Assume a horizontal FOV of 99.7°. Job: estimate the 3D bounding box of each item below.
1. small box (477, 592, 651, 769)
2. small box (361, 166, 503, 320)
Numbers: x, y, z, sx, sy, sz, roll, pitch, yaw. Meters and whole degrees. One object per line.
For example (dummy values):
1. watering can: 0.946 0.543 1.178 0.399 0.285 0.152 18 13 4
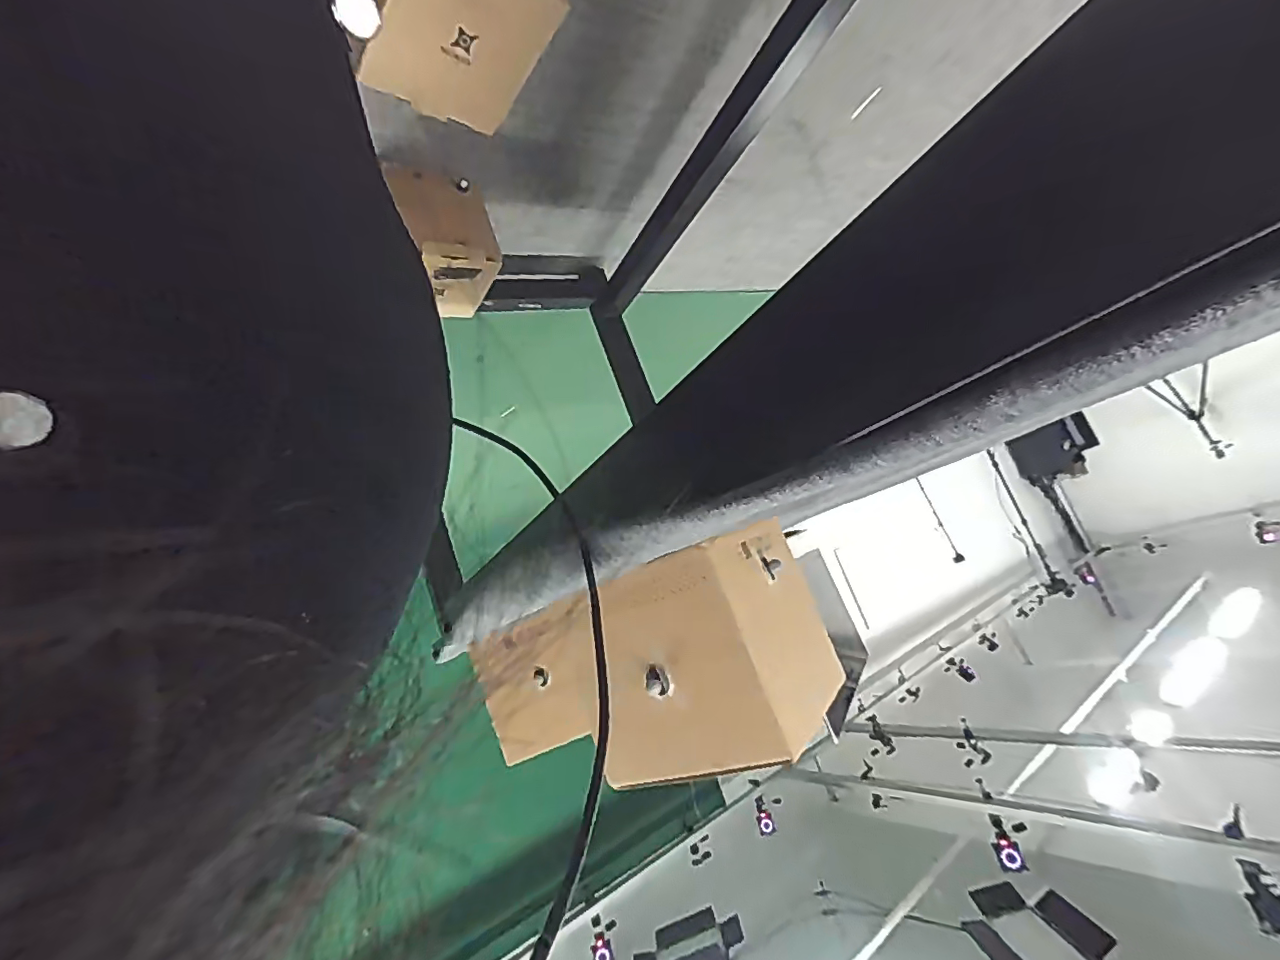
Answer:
1. small box: -0.105 0.272 0.777 0.168 0.176 0.179 -25 169 9
2. small box: -0.362 -0.397 0.926 0.168 0.176 0.179 -12 167 -38
